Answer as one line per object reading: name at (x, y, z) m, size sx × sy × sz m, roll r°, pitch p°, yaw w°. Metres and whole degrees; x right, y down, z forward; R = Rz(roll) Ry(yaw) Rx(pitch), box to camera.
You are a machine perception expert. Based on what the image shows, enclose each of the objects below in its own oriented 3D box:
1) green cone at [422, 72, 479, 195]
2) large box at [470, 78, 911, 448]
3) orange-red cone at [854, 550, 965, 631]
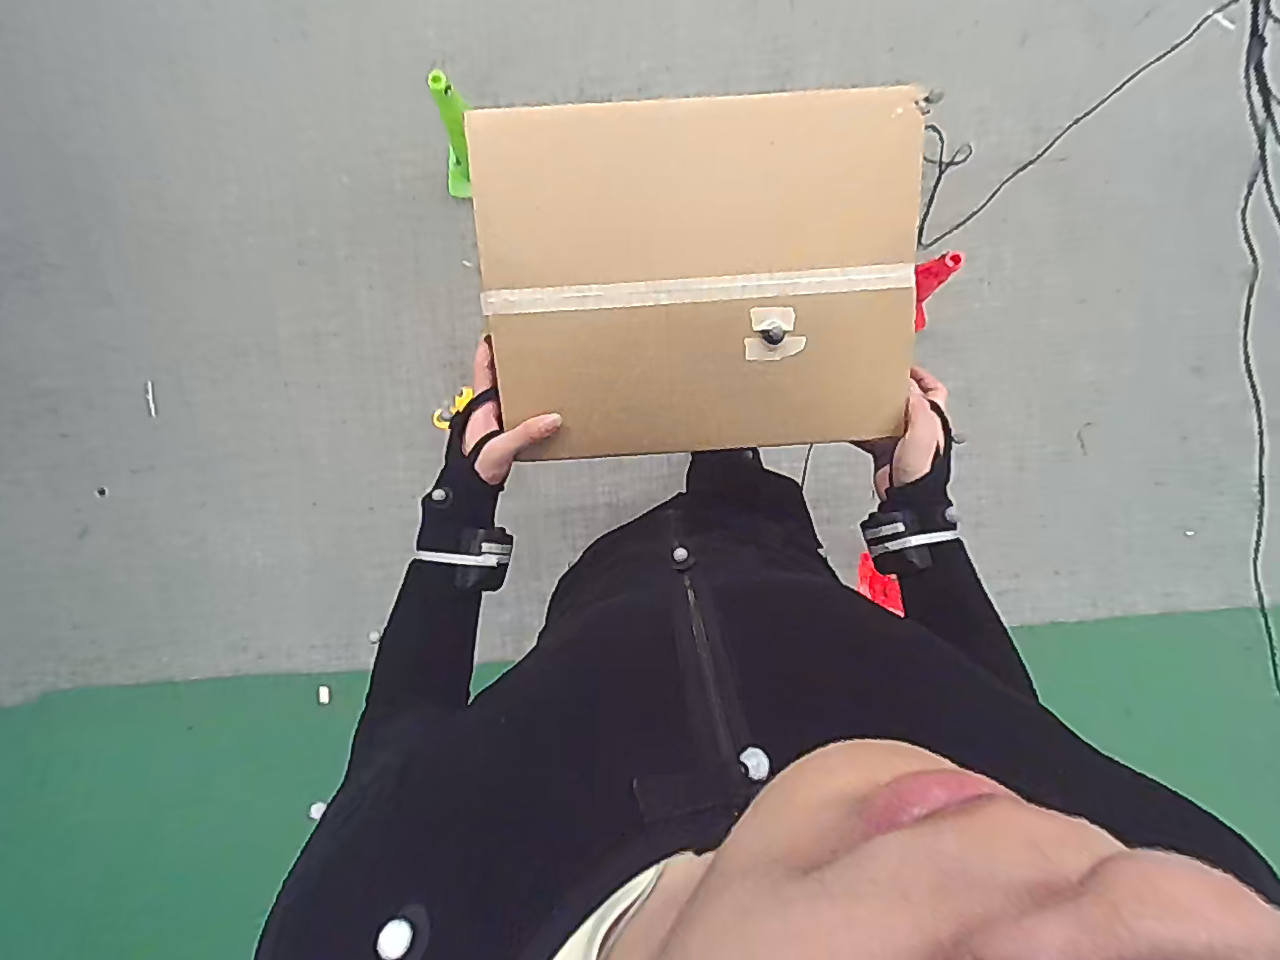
green cone at (-0.466, -0.908, 1.377) m, size 0.200 × 0.368 × 0.202 m, roll 2°, pitch 95°, yaw 1°
large box at (0.049, -0.234, 0.661) m, size 0.408 × 0.320 × 0.320 m, roll -4°, pitch 106°, yaw -2°
orange-red cone at (0.743, 0.319, 1.435) m, size 0.199 × 0.360 × 0.198 m, roll 3°, pitch 94°, yaw -1°
